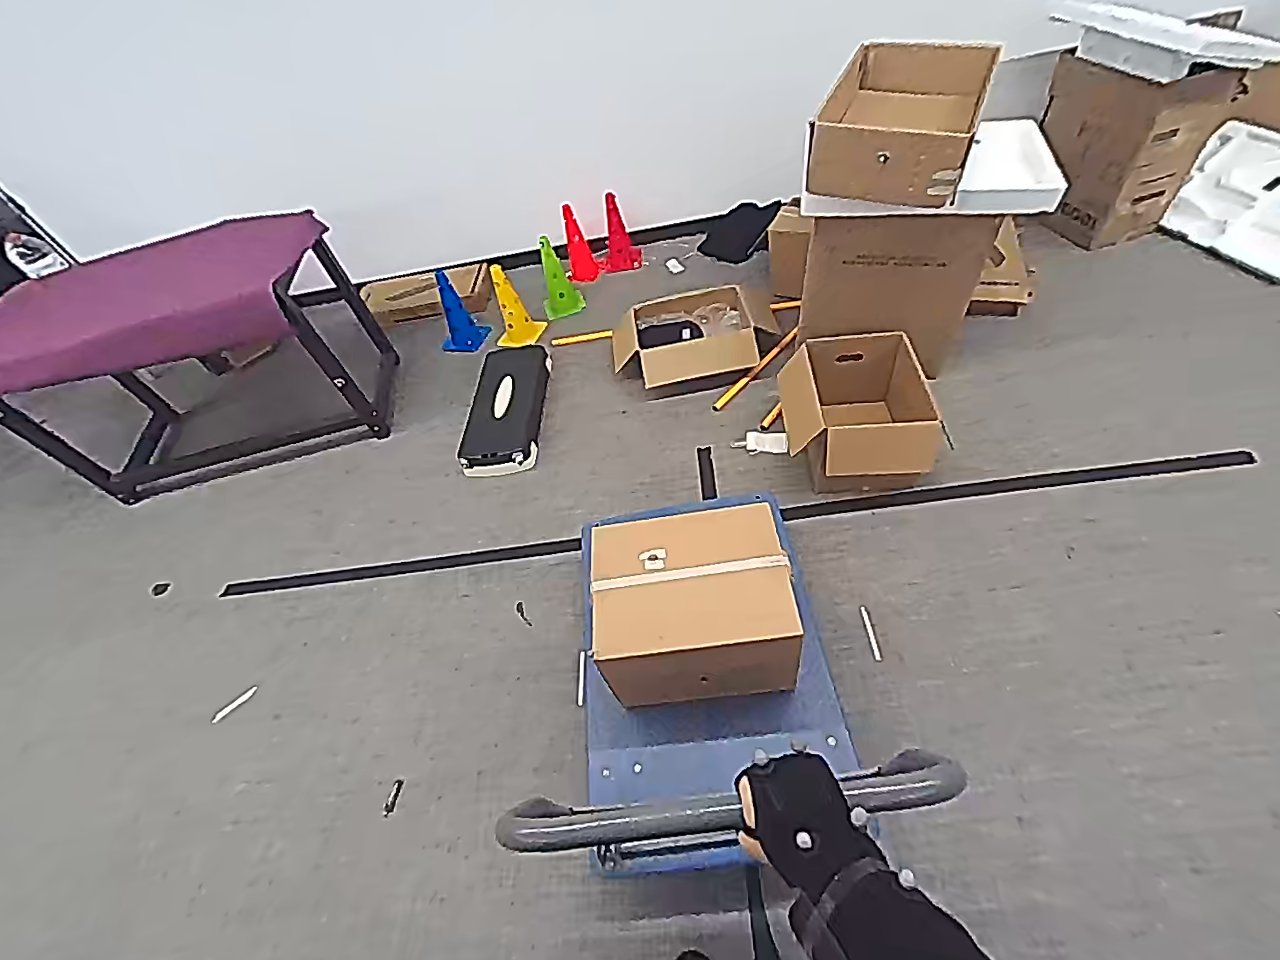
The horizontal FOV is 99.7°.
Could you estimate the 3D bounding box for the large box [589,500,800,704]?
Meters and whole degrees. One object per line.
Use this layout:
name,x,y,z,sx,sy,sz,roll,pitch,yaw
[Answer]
large box,0.120,0.285,1.224,0.408,0.320,0.320,-10,49,6
